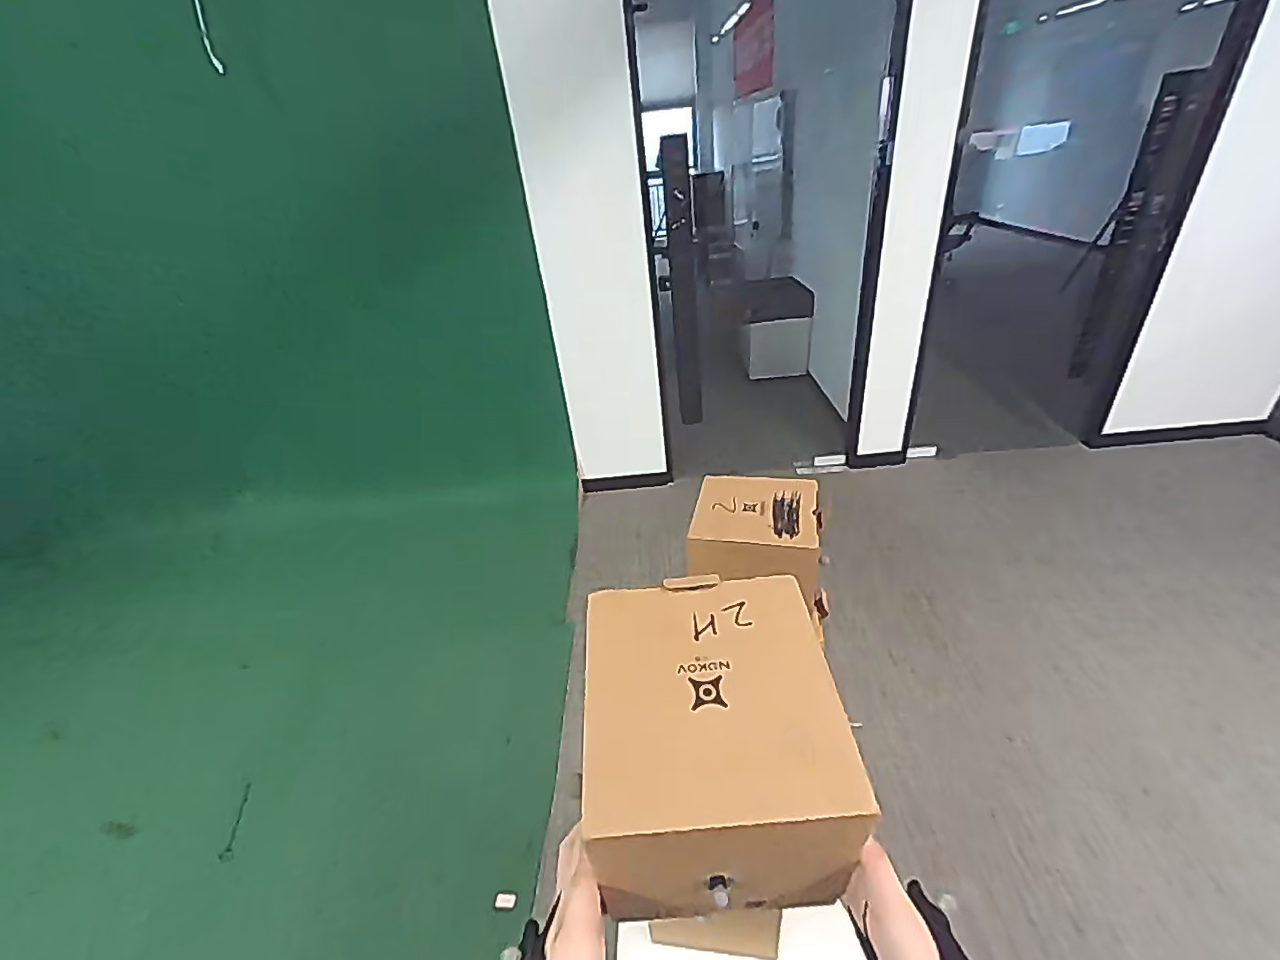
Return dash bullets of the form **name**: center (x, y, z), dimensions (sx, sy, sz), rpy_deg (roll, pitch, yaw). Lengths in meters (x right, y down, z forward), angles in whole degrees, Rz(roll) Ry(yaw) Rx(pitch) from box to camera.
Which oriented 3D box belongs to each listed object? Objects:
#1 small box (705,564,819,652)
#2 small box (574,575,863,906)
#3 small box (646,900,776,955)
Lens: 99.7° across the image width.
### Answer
- **small box**: center (0.196, 0.259, 0.901), dimensions (0.179, 0.176, 0.168), rpy_deg (1, 33, 10)
- **small box**: center (0.047, 0.198, 0.412), dimensions (0.168, 0.176, 0.179), rpy_deg (-4, 37, 0)
- **small box**: center (0.101, 0.539, 0.775), dimensions (0.179, 0.176, 0.168), rpy_deg (1, 32, 10)
